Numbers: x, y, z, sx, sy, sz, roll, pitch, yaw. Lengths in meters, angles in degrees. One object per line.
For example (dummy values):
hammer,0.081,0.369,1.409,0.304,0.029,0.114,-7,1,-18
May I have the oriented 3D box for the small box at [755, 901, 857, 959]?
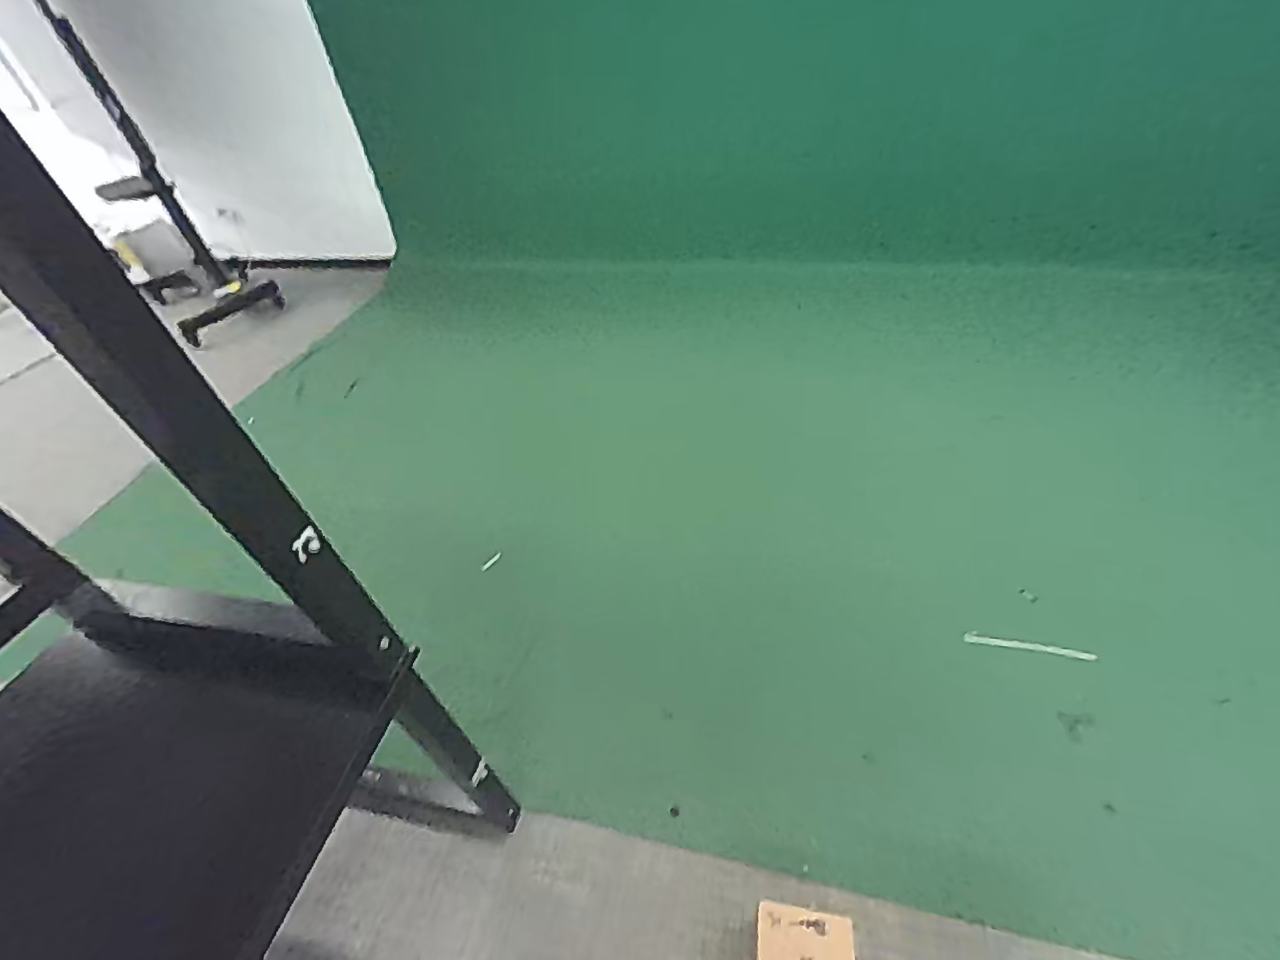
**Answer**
small box,0.292,0.892,0.966,0.168,0.176,0.179,4,44,12
